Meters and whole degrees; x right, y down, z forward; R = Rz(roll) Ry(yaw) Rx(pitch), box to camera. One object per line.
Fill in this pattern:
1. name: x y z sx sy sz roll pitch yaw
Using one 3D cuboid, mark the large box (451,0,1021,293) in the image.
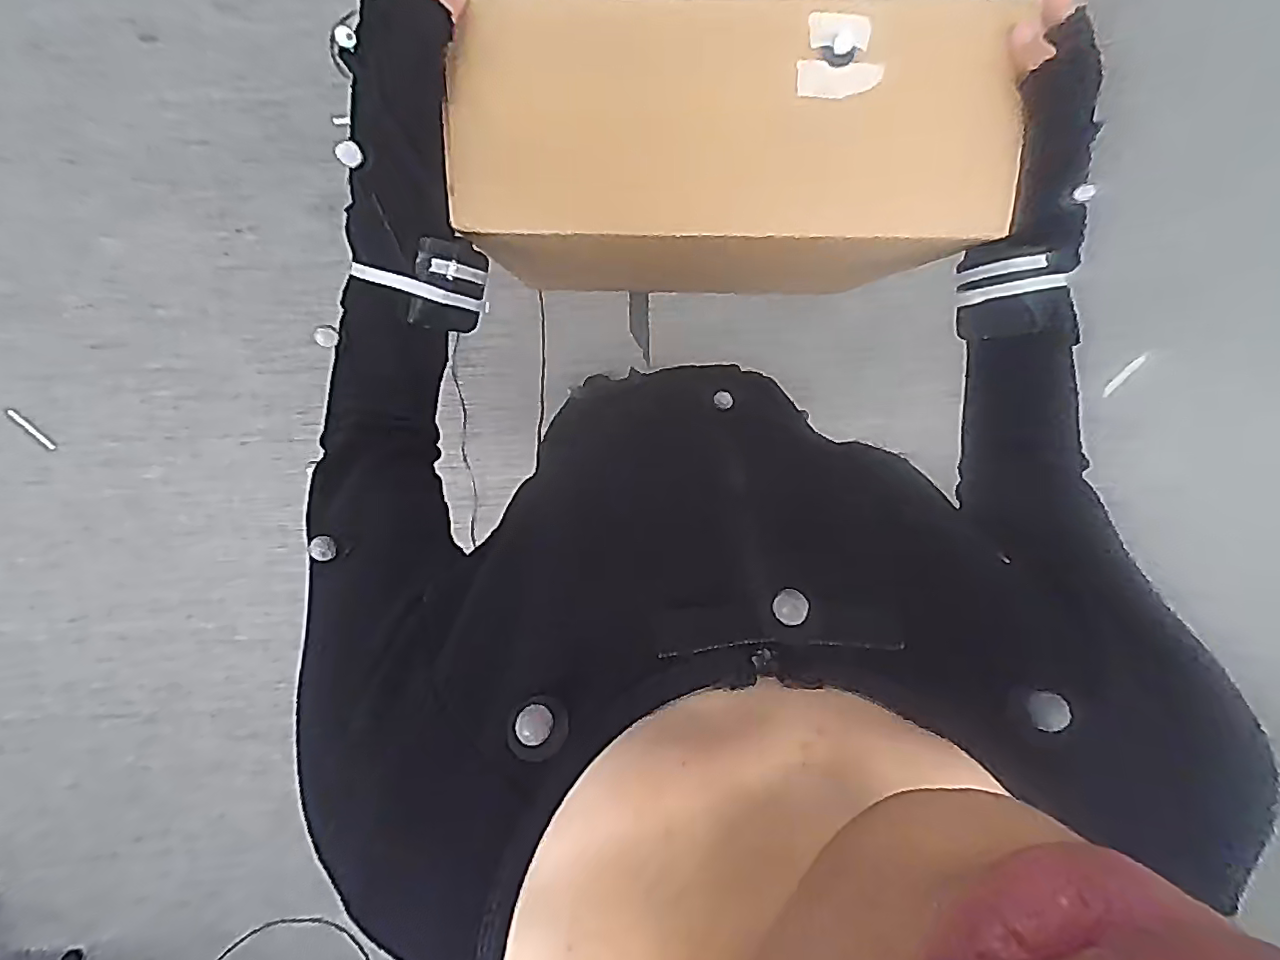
1. large box: 0.062 -0.366 0.518 0.408 0.320 0.320 0 101 -2
